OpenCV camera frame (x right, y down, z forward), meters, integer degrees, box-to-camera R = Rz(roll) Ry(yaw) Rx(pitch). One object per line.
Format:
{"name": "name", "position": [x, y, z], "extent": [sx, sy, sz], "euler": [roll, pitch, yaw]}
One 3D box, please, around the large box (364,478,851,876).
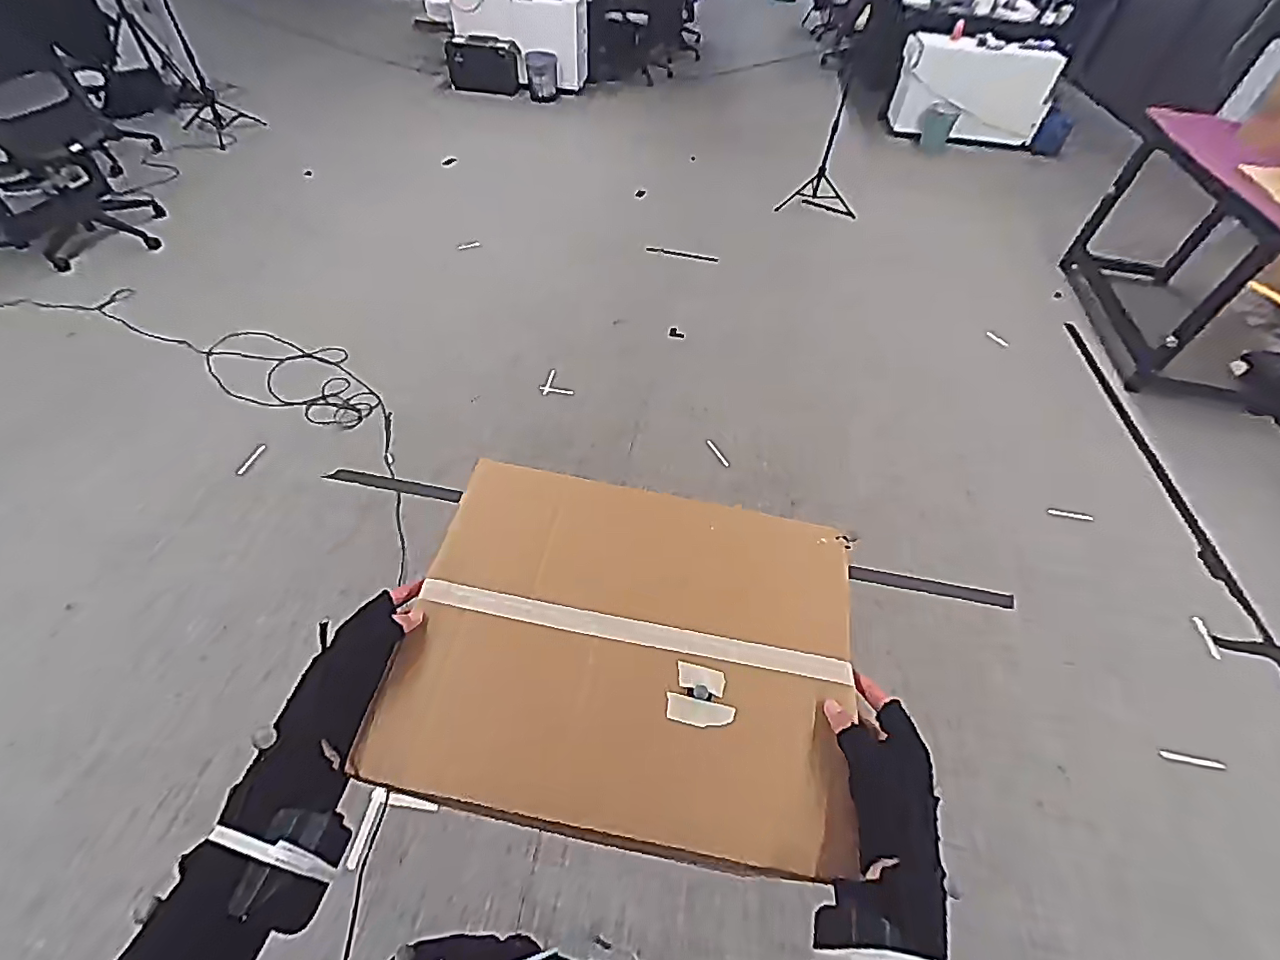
{"name": "large box", "position": [-0.019, 0.238, 0.633], "extent": [0.408, 0.320, 0.320], "euler": [11, 55, 2]}
